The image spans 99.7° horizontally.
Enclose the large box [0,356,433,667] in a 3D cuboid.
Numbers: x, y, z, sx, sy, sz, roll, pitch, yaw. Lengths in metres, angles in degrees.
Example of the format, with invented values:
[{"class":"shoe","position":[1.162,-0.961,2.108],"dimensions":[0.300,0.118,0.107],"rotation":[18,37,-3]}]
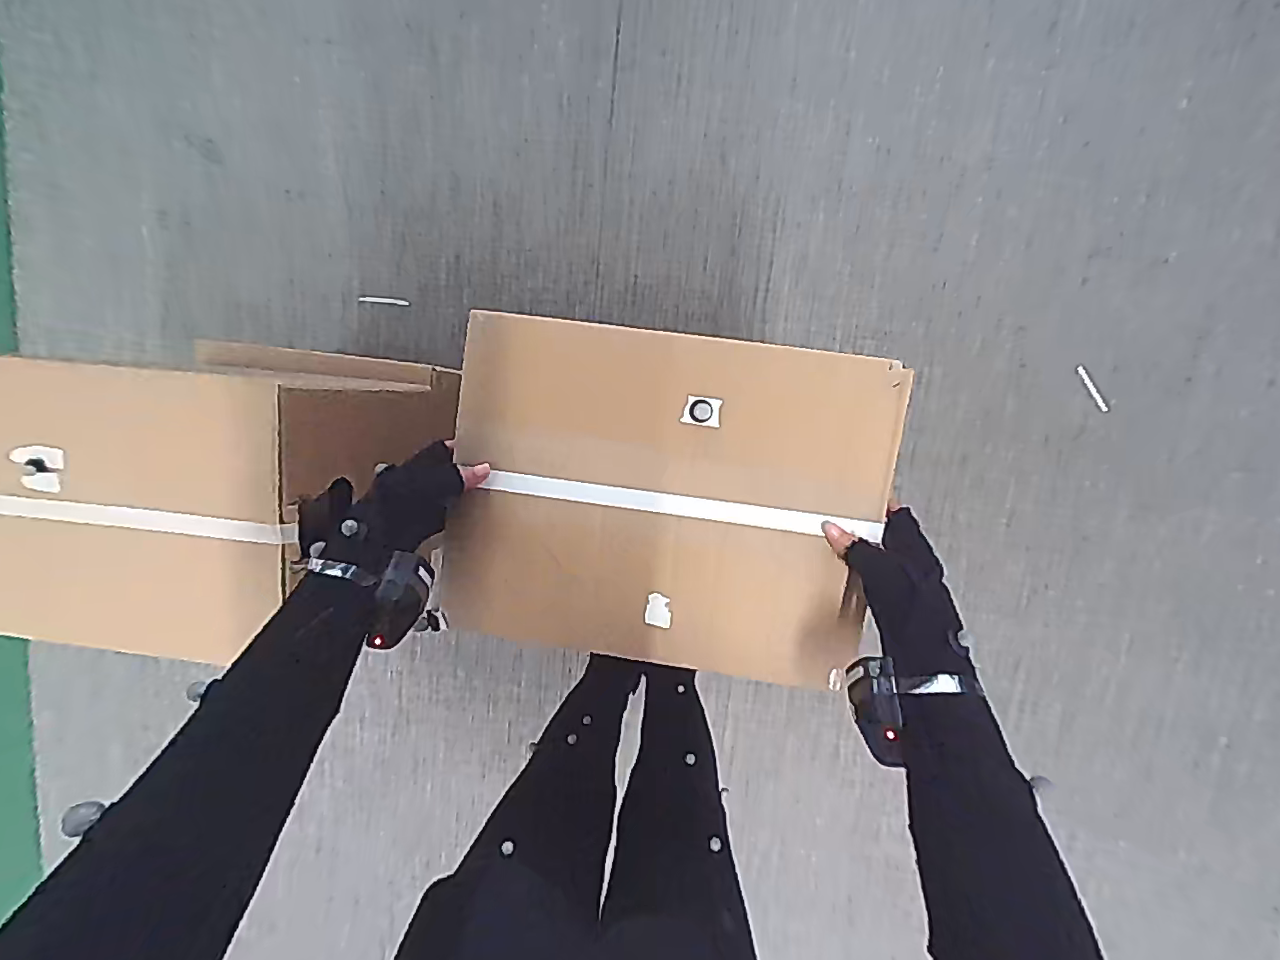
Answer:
[{"class":"large box","position":[-0.537,0.010,0.723],"dimensions":[0.408,0.320,0.320],"rotation":[6,100,7]}]
